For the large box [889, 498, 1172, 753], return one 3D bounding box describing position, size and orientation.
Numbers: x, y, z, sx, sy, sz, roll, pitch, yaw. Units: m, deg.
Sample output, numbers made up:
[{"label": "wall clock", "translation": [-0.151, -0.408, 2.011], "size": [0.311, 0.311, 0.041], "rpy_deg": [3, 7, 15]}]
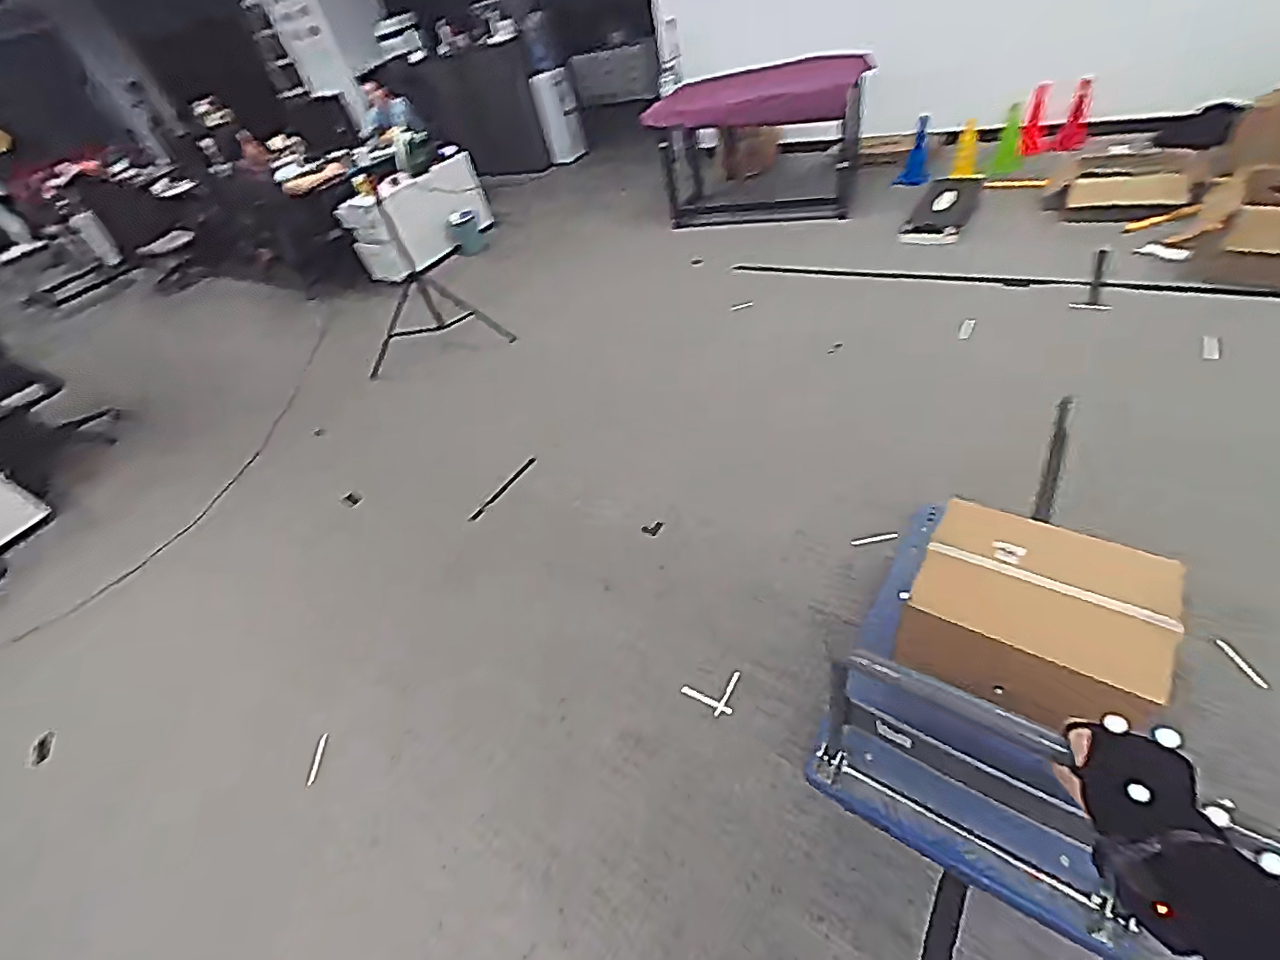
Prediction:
[{"label": "large box", "translation": [0.794, 0.295, 1.147], "size": [0.408, 0.320, 0.320], "rpy_deg": [19, 54, 33]}]
